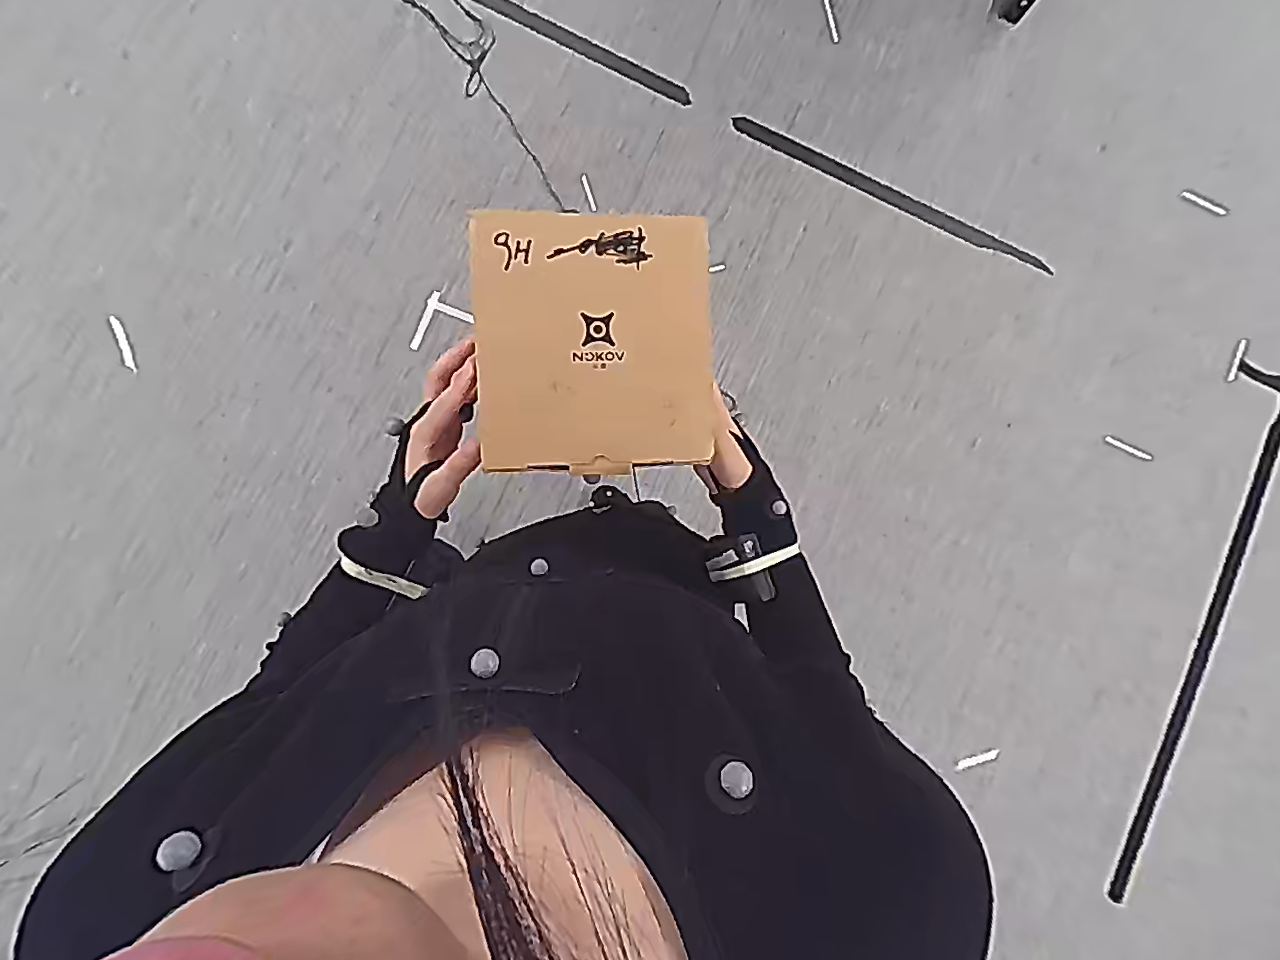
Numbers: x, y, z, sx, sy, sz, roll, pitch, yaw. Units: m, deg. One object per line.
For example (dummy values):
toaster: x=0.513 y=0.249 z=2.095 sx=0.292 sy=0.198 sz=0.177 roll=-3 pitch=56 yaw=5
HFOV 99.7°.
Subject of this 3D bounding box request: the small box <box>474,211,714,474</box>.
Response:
small box: x=-0.040 y=-0.100 z=0.453 sx=0.168 sy=0.176 sz=0.179 roll=-2 pitch=94 yaw=-9
